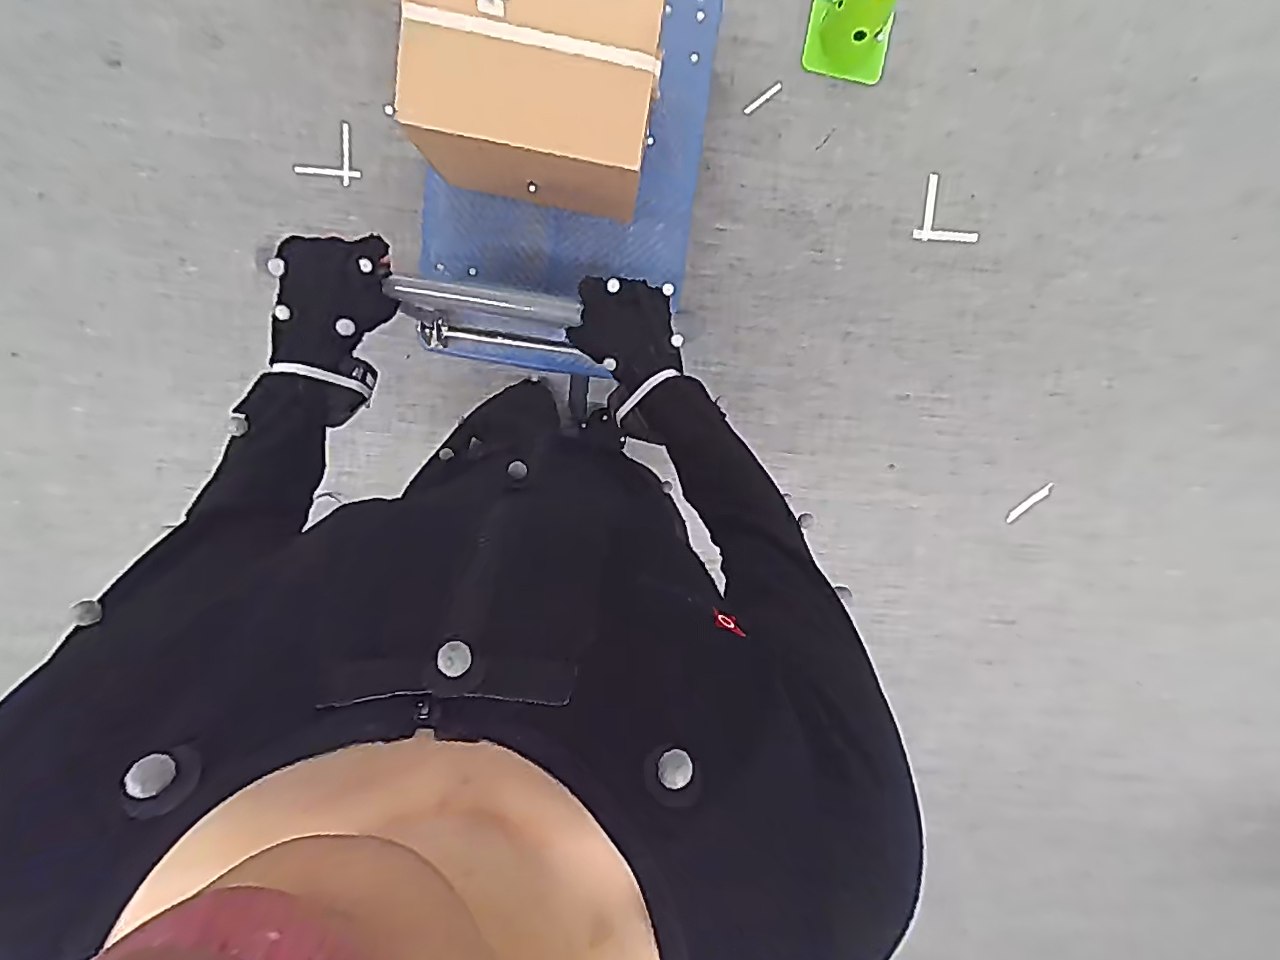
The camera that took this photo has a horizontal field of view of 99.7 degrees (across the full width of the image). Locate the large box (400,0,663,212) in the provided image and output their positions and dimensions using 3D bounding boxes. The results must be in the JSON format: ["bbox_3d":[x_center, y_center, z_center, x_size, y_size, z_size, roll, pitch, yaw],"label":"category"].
[{"bbox_3d":[-0.179,-0.735,1.016,0.408,0.320,0.320,9,100,-4],"label":"large box"}]

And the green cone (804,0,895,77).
[{"bbox_3d":[0.518,-1.066,1.137,0.202,0.368,0.200,8,100,-6],"label":"green cone"}]
